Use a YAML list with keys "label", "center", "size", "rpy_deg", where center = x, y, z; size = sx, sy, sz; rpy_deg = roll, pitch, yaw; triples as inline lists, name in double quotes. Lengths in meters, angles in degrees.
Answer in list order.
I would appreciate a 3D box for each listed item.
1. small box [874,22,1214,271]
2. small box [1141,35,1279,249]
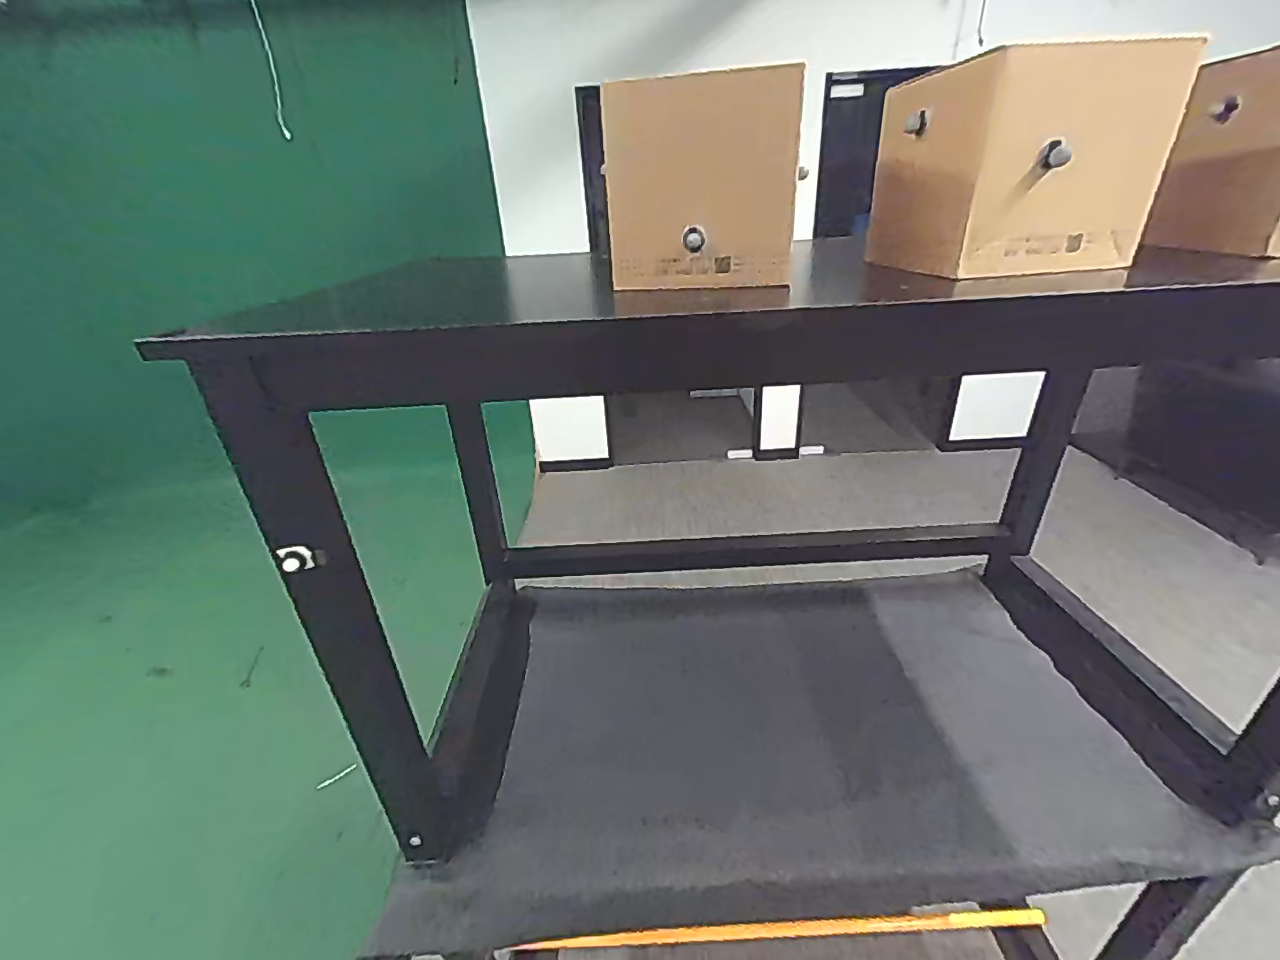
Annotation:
- label: "small box"
  center: [0.344, -0.293, 0.506]
  size: [0.168, 0.176, 0.179]
  rpy_deg: [-5, 27, -3]
- label: "small box"
  center: [0.637, -0.313, 0.505]
  size: [0.168, 0.176, 0.179]
  rpy_deg: [-1, 28, 6]
